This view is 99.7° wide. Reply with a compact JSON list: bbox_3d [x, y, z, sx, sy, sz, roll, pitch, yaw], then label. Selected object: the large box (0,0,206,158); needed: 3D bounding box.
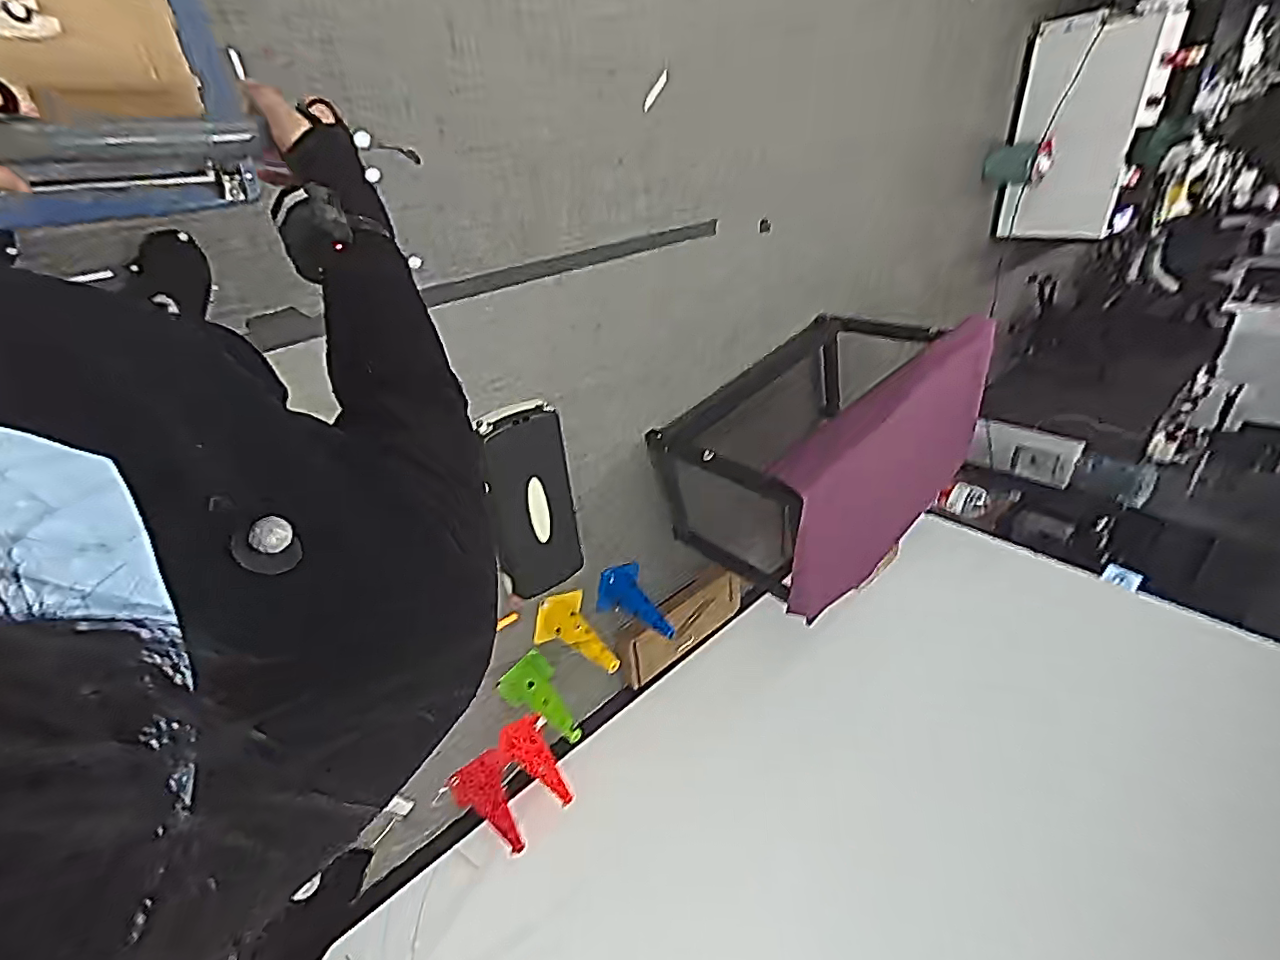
[{"bbox_3d":[-0.837,-0.578,0.645,0.408,0.320,0.320,-26,126,-33],"label":"large box"}]
